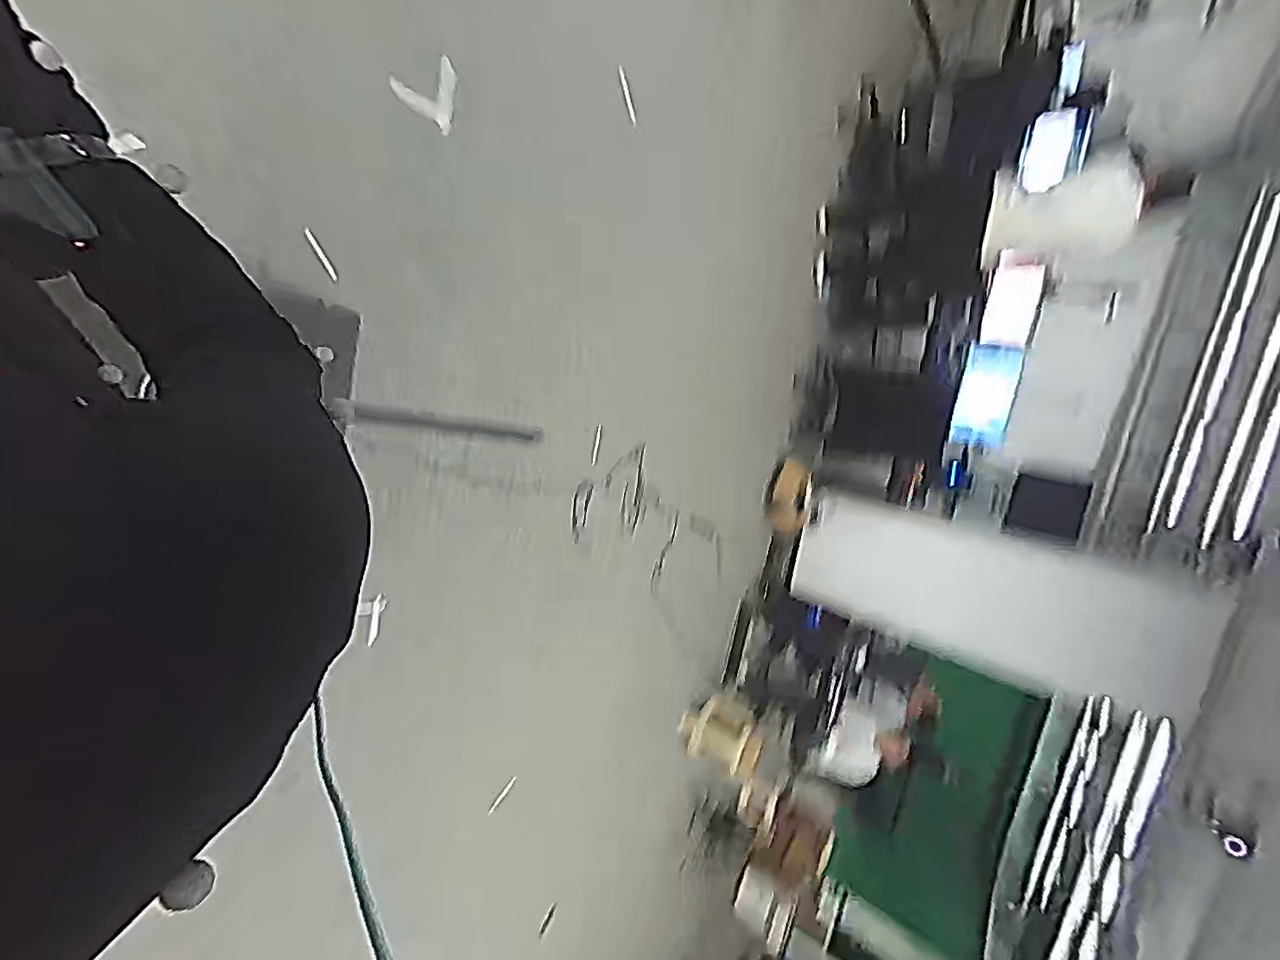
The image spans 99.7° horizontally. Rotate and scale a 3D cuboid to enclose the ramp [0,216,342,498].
[{"bbox_3d":[-1.064,-0.211,1.035,0.991,0.206,0.509,-2,105,-54],"label":"ramp"}]
